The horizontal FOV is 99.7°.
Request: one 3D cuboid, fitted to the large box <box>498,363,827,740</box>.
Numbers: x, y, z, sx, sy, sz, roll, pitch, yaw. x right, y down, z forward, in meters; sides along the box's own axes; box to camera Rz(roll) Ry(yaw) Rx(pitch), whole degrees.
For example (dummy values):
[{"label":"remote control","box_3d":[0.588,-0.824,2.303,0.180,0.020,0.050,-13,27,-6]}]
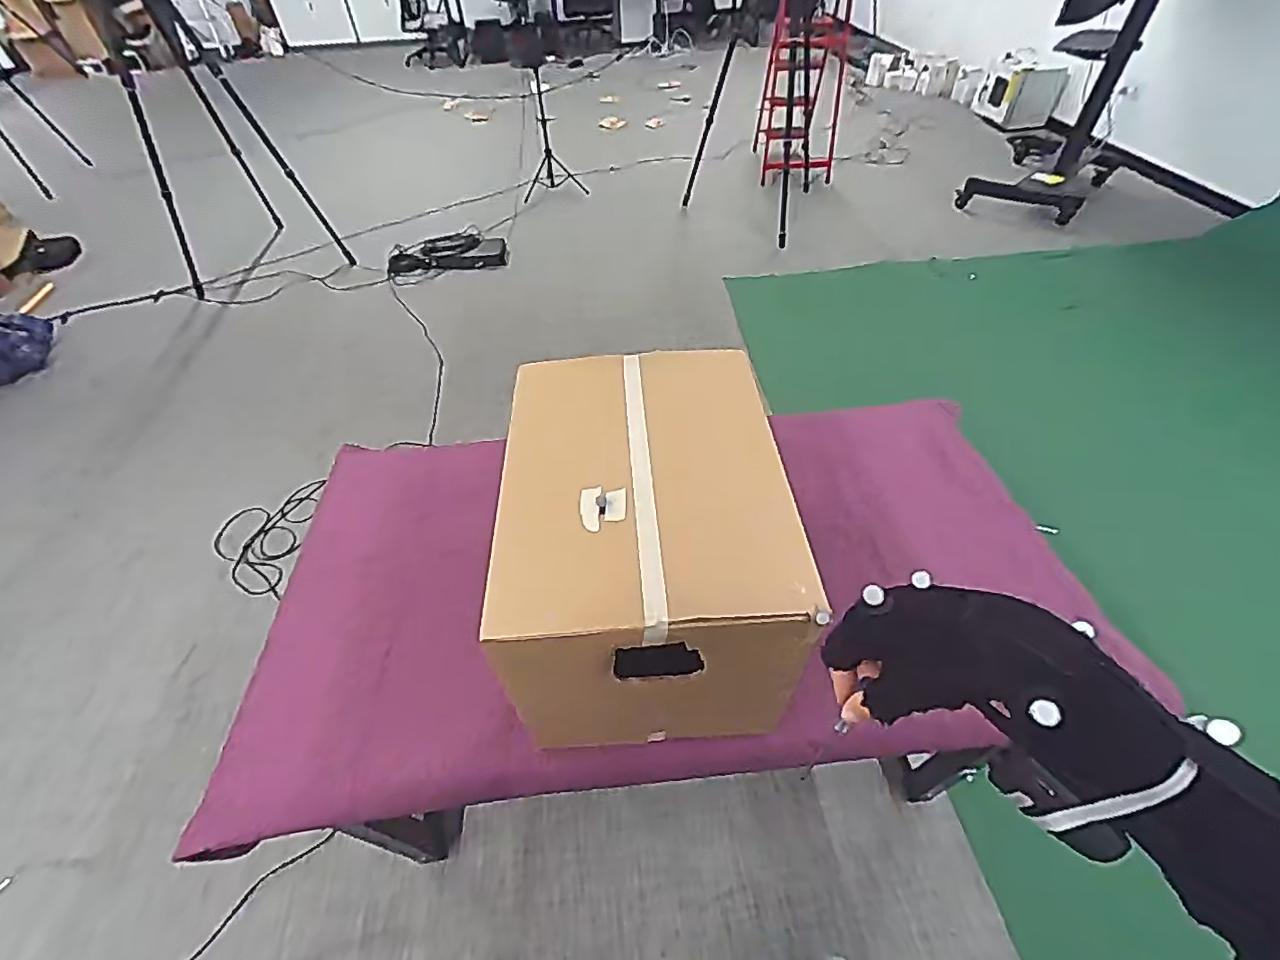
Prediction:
[{"label":"large box","box_3d":[0.009,0.089,0.735,0.320,0.320,0.408,-4,49,-1]}]
